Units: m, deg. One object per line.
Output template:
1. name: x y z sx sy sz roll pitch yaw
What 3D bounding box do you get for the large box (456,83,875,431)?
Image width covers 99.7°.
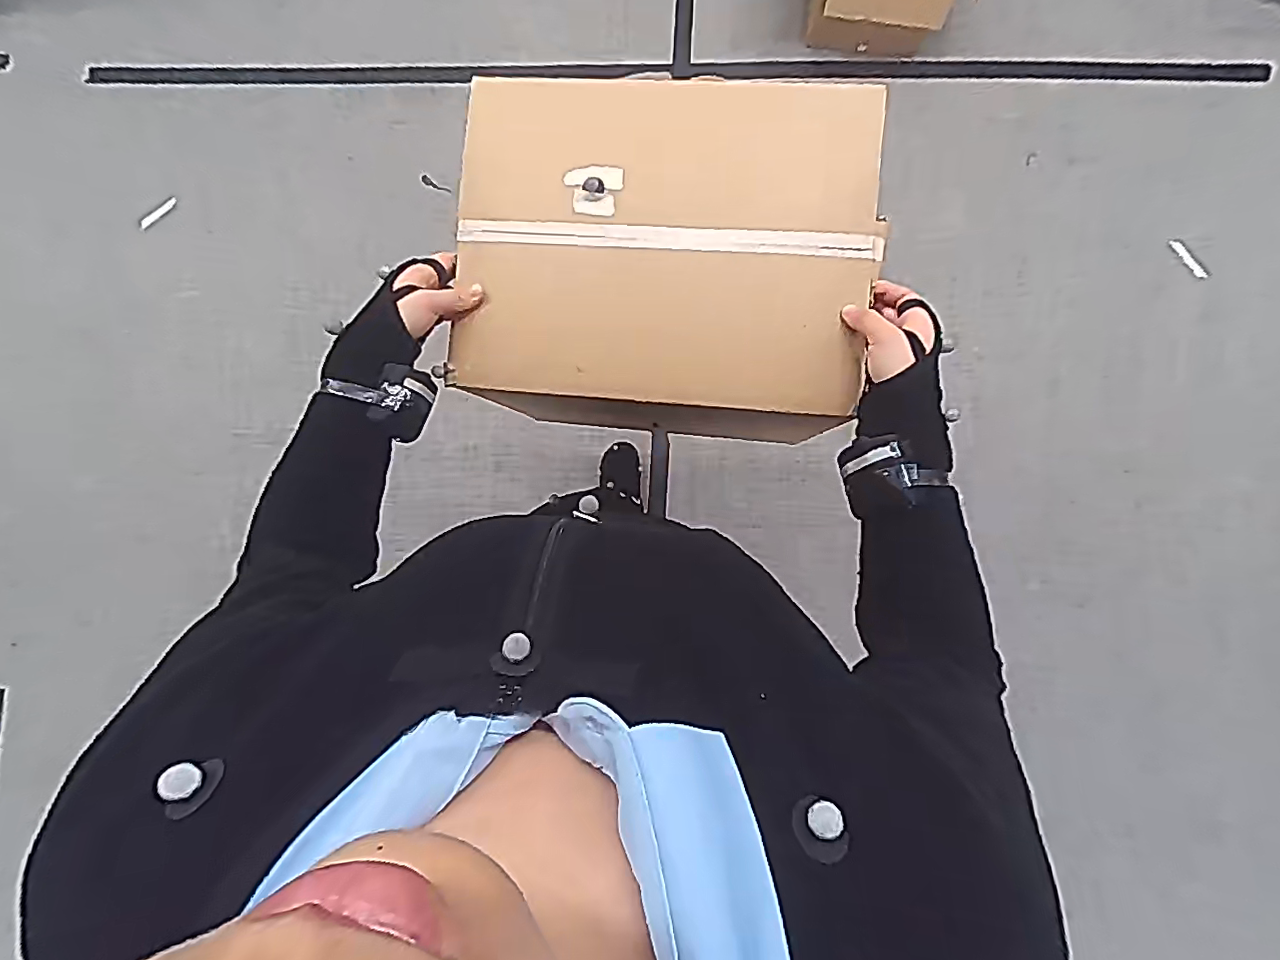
1. large box: 0.037 -0.236 0.682 0.408 0.320 0.320 5 89 7
